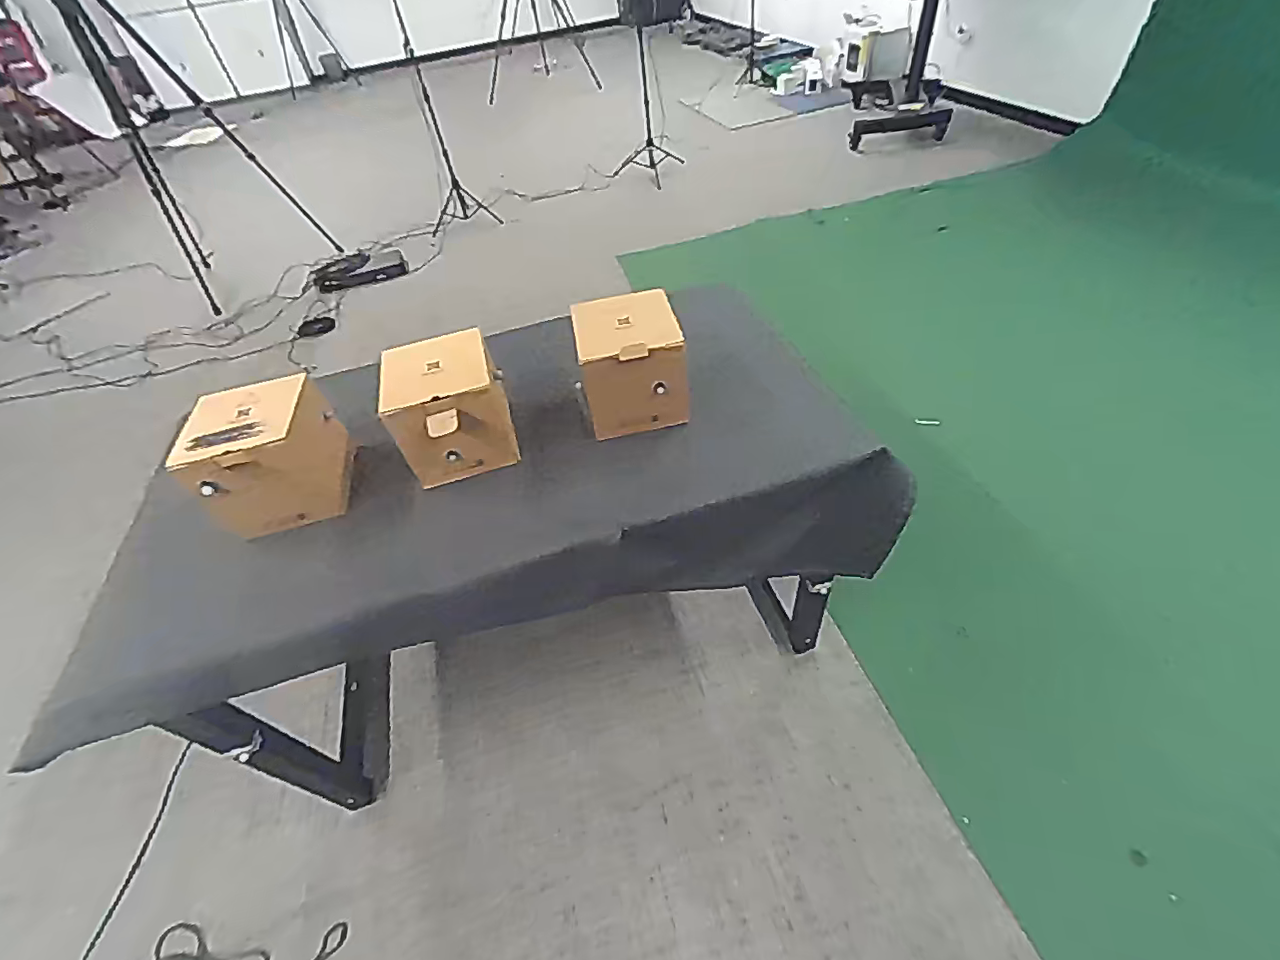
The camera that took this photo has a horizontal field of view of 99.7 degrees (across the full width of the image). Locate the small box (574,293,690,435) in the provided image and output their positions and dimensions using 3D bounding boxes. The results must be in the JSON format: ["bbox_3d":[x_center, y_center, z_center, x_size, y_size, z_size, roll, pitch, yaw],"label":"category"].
[{"bbox_3d":[-0.013,-0.194,0.932,0.168,0.176,0.179,-11,46,-3],"label":"small box"}]

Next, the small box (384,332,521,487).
[{"bbox_3d":[-0.309,-0.117,0.907,0.168,0.176,0.179,-16,48,-7],"label":"small box"}]
